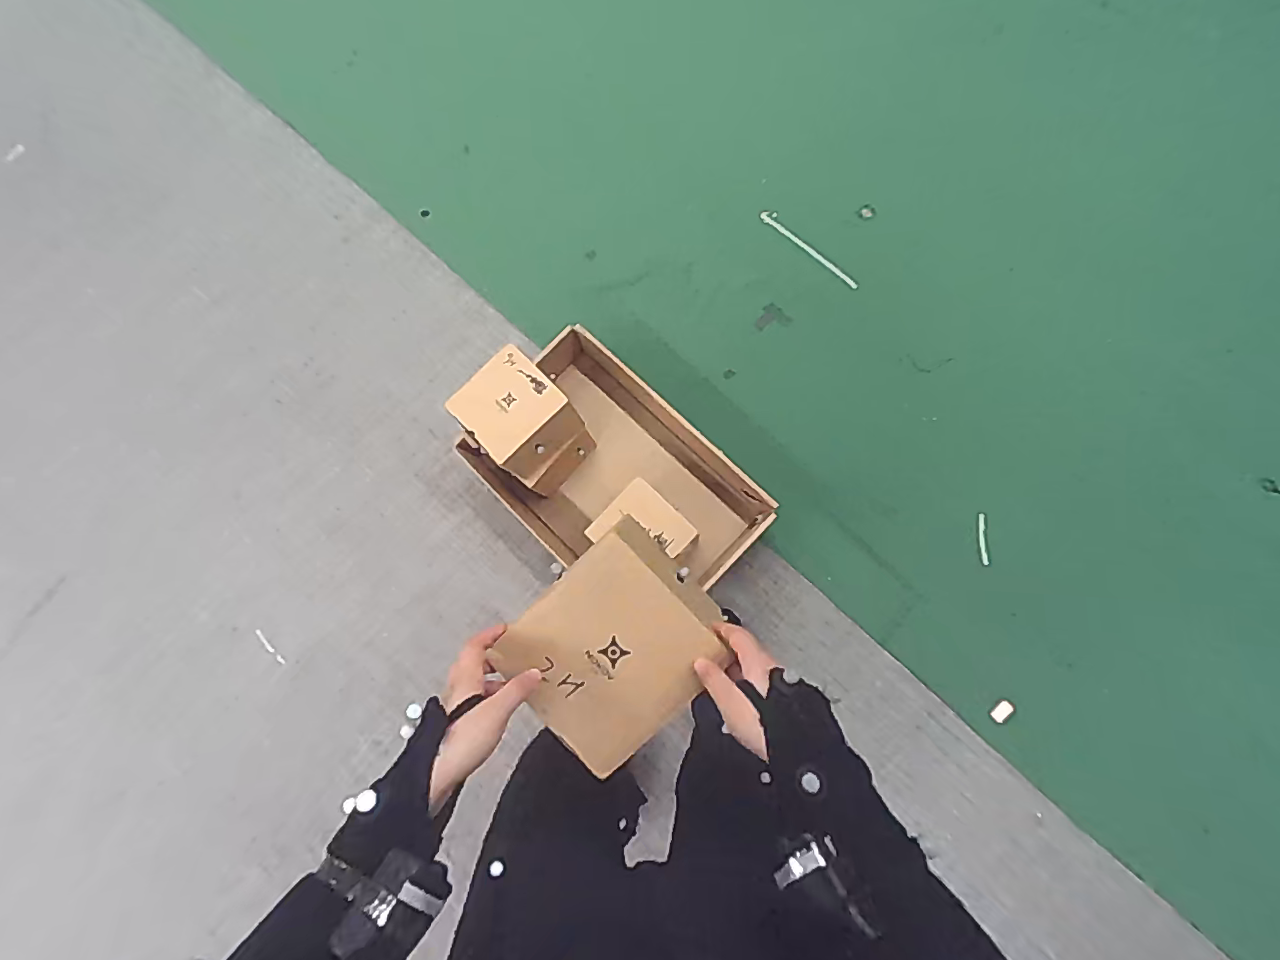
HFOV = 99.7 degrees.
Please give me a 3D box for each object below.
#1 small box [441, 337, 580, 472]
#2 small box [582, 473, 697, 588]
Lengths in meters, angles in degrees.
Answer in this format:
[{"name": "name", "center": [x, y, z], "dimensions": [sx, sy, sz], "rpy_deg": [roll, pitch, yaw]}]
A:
[{"name": "small box", "center": [-0.240, -0.134, 1.049], "dimensions": [0.179, 0.176, 0.168], "rpy_deg": [-44, 81, -2]}, {"name": "small box", "center": [0.007, 0.109, 1.160], "dimensions": [0.179, 0.176, 0.168], "rpy_deg": [44, 87, 10]}]
